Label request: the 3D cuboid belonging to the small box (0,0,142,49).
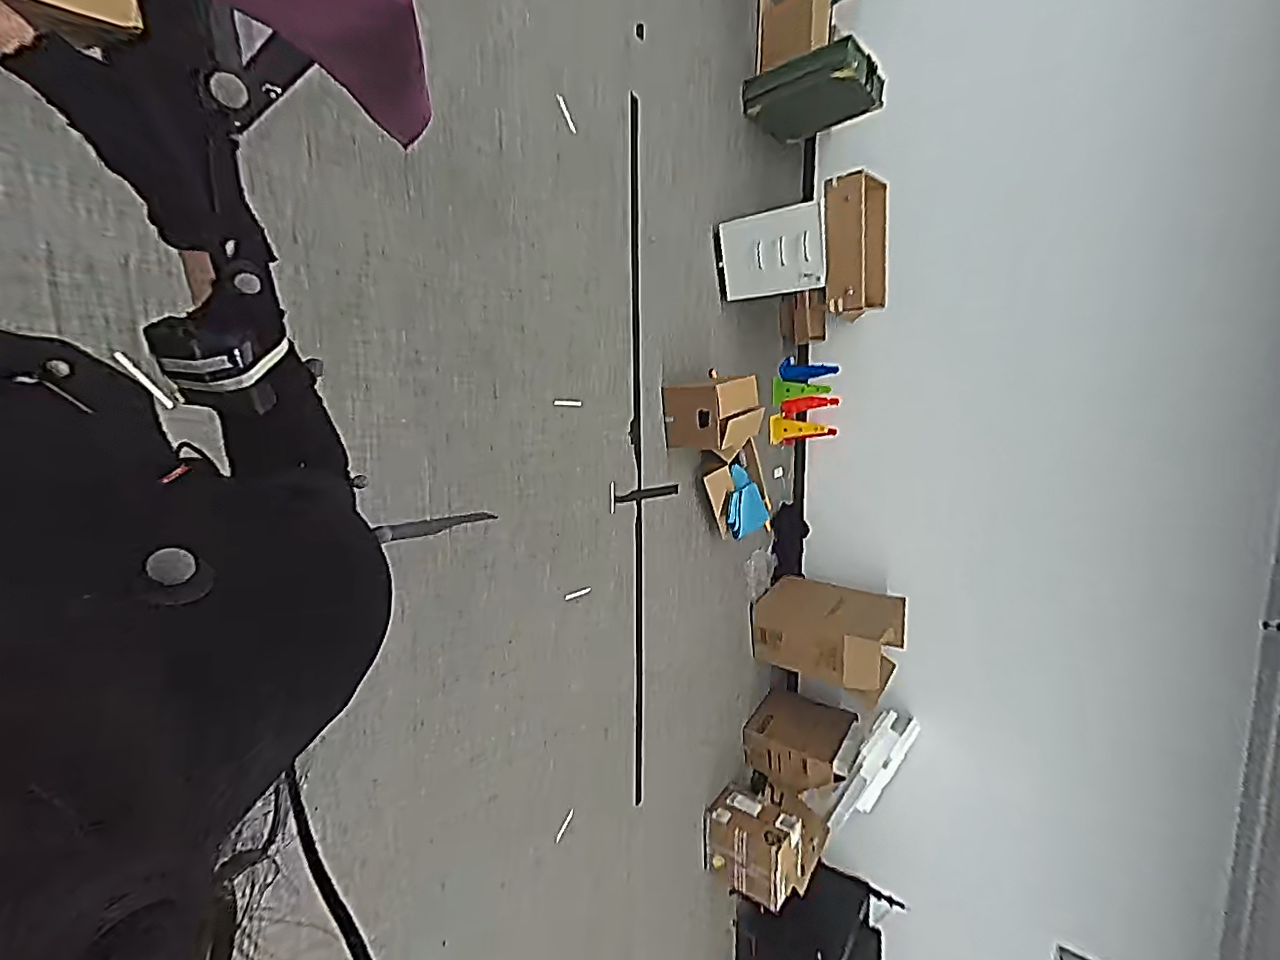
[{"bbox_3d":[-0.341,-0.290,0.200,0.179,0.176,0.168,-23,128,-53],"label":"small box"}]
